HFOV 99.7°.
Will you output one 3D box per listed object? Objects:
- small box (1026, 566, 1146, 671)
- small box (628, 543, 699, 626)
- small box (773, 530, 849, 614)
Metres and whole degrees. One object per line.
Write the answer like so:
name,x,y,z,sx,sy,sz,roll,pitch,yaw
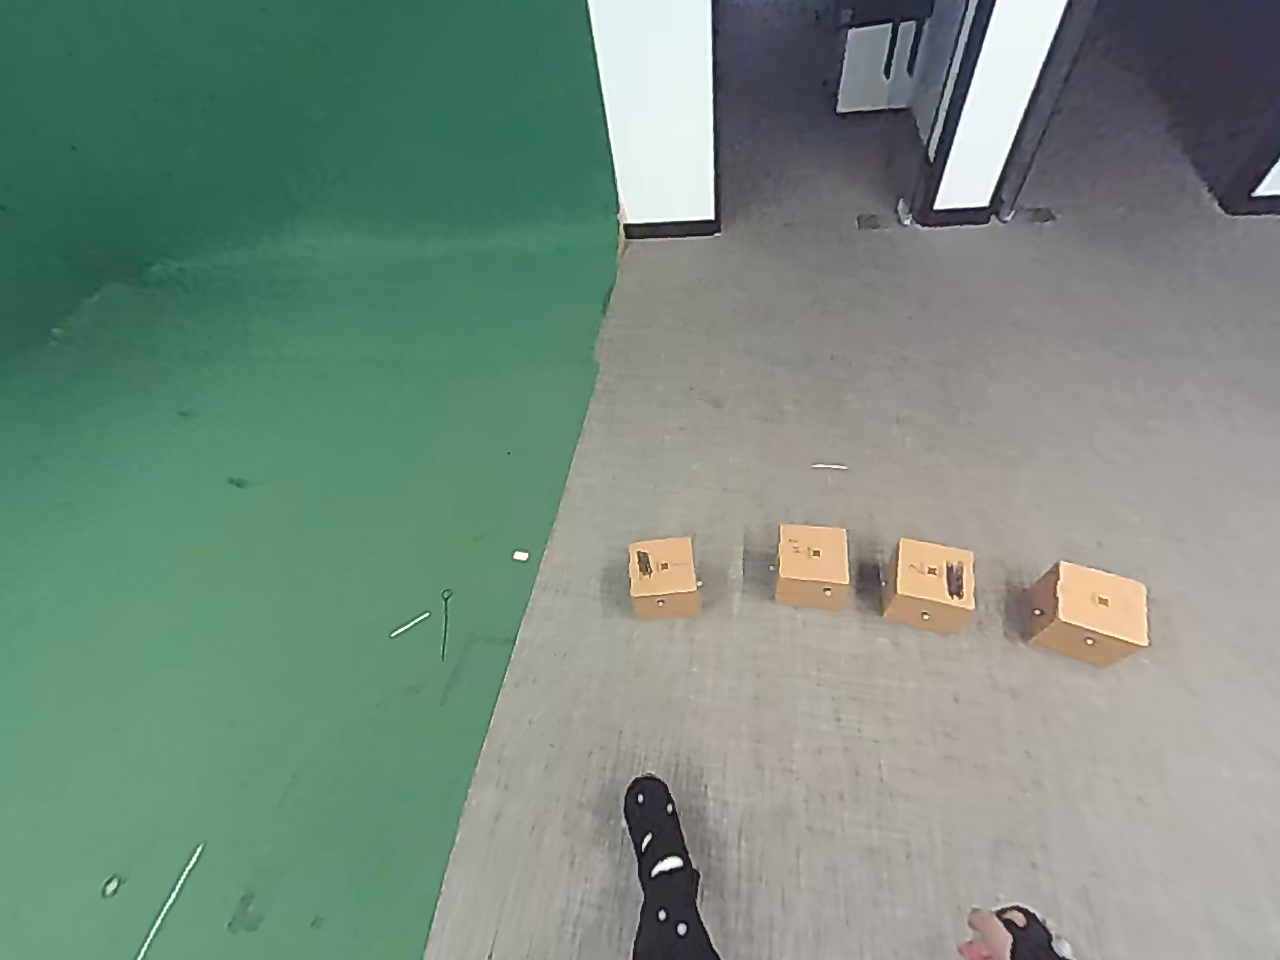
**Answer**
small box,1.075,0.342,1.315,0.179,0.176,0.168,17,58,20
small box,0.067,0.297,1.511,0.179,0.176,0.168,-6,53,4
small box,0.462,0.255,1.478,0.179,0.176,0.168,4,53,12
